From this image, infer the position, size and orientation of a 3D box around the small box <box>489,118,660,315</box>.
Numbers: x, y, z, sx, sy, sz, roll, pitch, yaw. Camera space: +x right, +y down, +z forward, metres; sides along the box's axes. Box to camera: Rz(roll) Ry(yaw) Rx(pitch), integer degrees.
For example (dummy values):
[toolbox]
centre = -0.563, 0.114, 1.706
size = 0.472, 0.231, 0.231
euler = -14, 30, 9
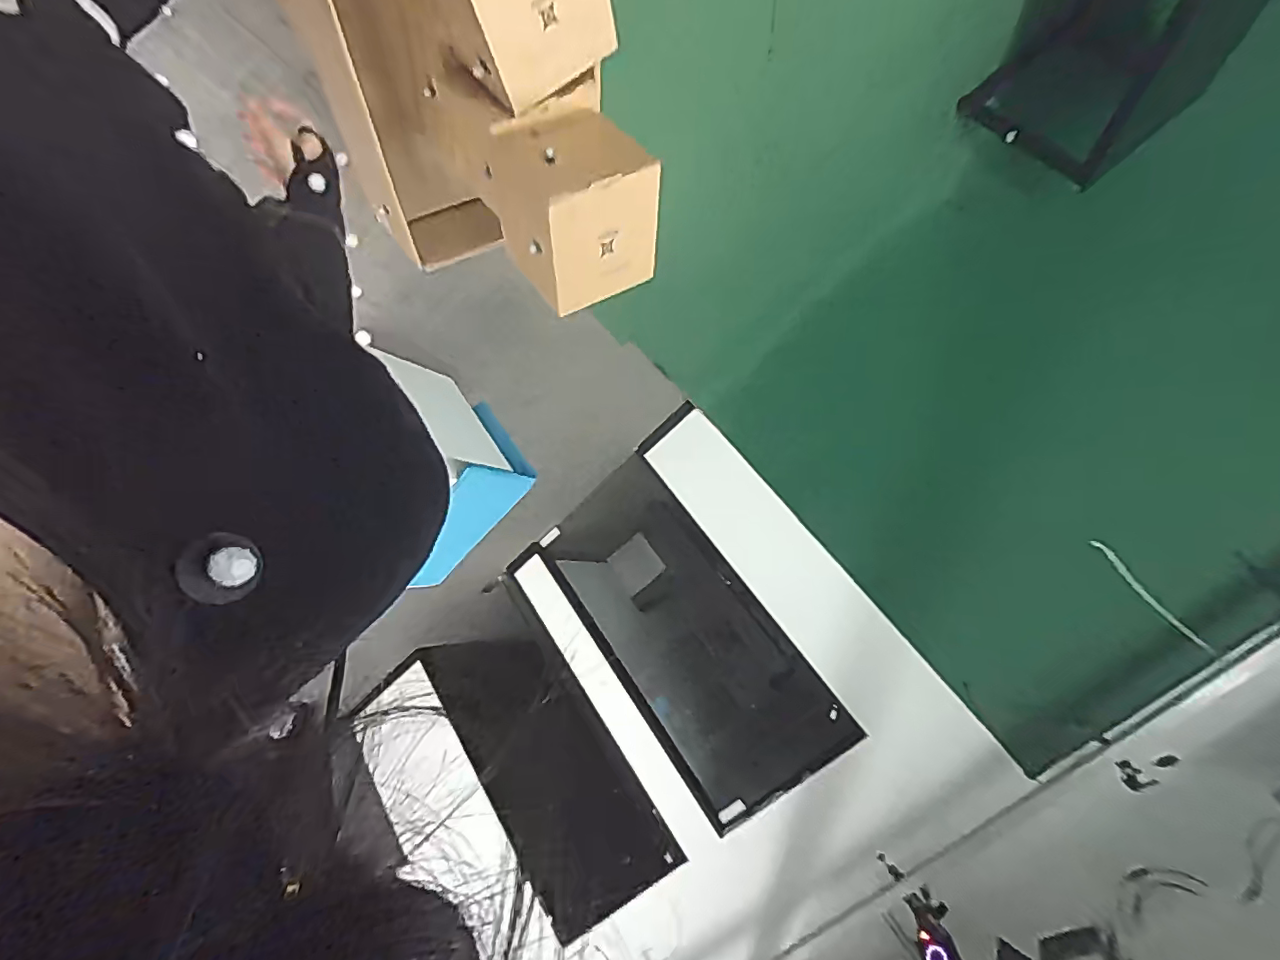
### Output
[small box]
centre = -0.091, -0.373, 0.755
size = 0.168, 0.176, 0.179
euler = -29, 154, -19
